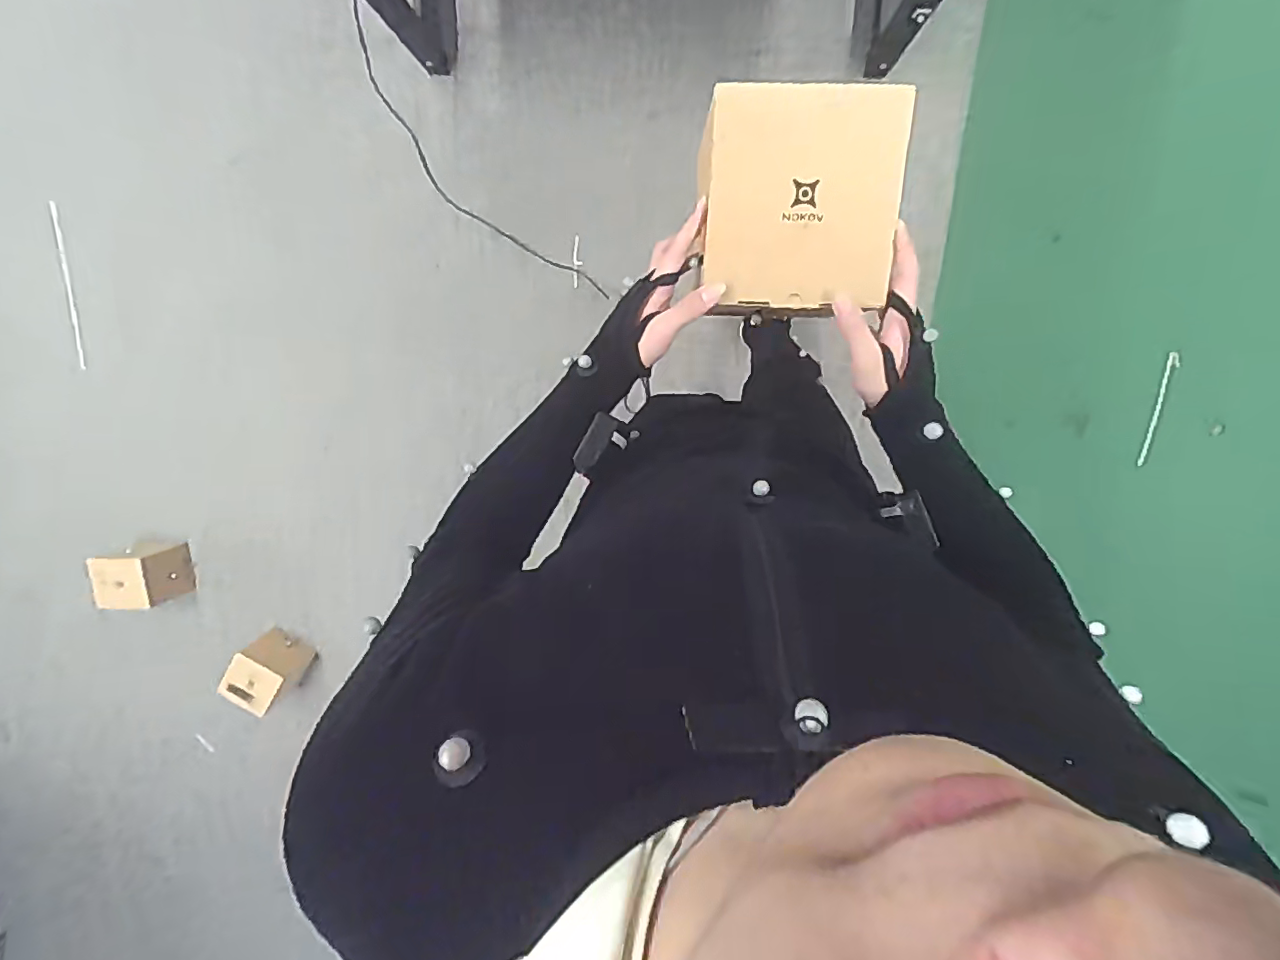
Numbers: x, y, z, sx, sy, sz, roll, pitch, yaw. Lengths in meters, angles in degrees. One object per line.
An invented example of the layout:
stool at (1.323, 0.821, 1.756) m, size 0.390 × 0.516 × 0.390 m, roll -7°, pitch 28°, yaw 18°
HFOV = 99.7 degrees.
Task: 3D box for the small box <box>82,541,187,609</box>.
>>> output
small box at (-1.579, 0.295, 1.706) m, size 0.179 × 0.176 × 0.168 m, roll 1°, pitch 102°, yaw 3°
